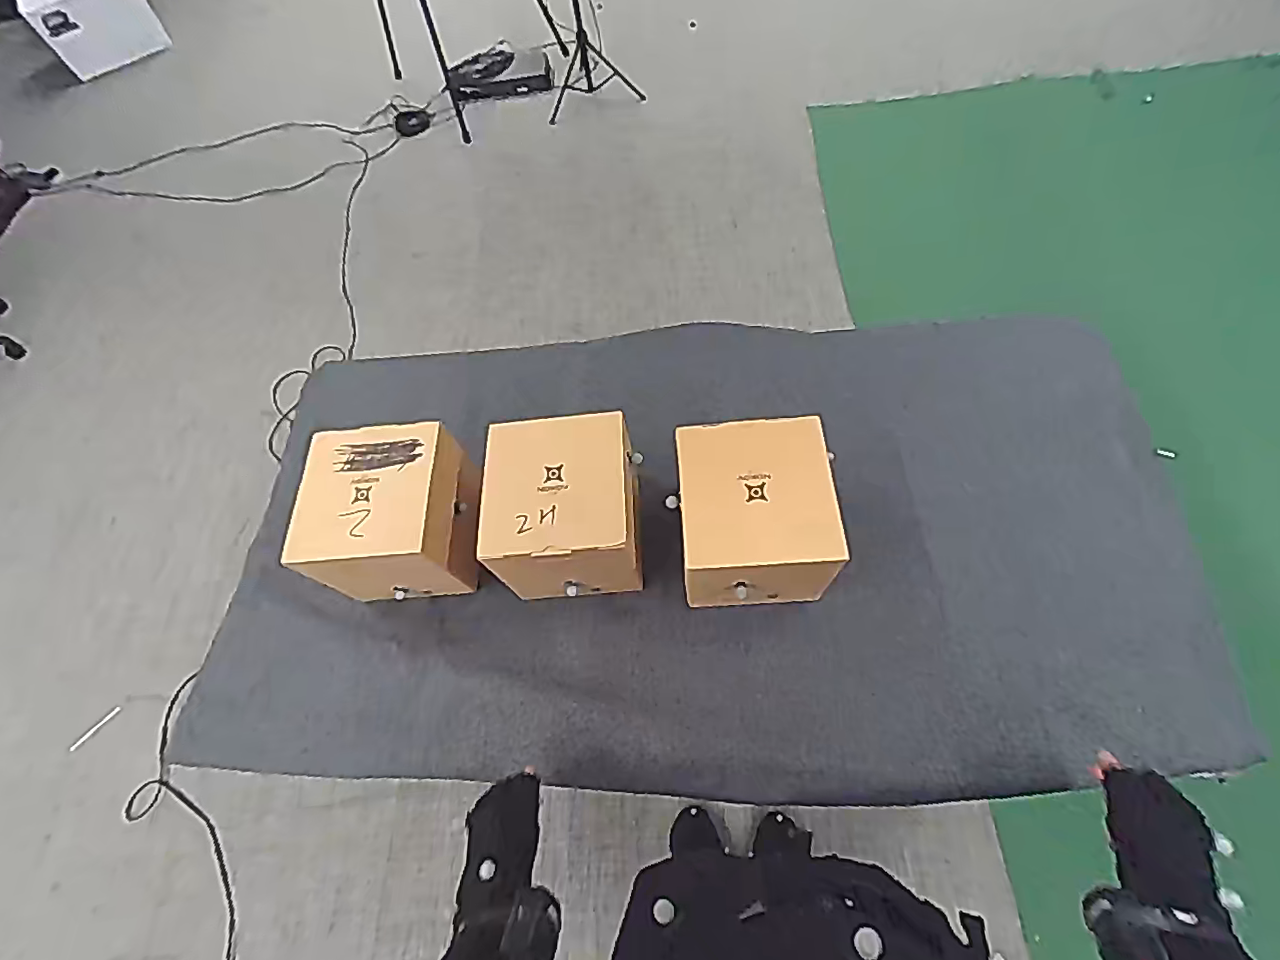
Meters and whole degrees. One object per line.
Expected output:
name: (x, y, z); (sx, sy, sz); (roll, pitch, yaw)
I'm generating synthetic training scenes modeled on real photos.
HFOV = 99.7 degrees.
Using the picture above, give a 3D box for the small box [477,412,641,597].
small box: (-0.090, 0.037, 0.685); (0.168, 0.176, 0.179); (-5, 63, 4)
